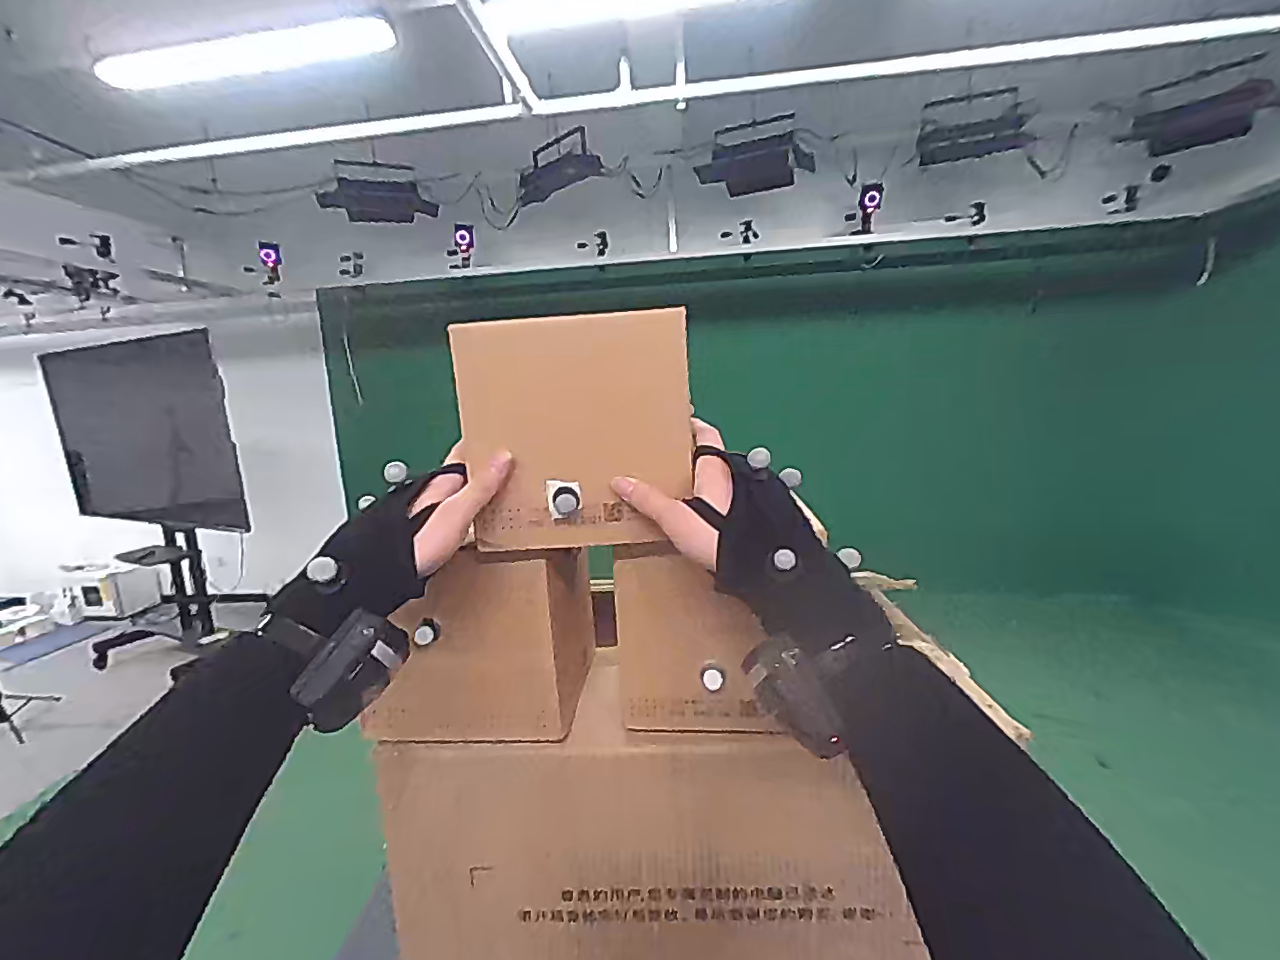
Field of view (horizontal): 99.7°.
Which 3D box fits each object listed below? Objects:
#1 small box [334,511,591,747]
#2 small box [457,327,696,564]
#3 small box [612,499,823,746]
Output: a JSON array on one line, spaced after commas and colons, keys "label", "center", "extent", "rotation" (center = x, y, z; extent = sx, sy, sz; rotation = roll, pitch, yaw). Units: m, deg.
[{"label": "small box", "center": [-0.149, 0.129, 0.513], "extent": [0.179, 0.176, 0.168], "rotation": [-2, 10, 5]}, {"label": "small box", "center": [-0.044, -0.034, 0.467], "extent": [0.168, 0.176, 0.179], "rotation": [-4, 11, -1]}, {"label": "small box", "center": [0.069, 0.117, 0.508], "extent": [0.168, 0.176, 0.179], "rotation": [-1, 11, 7]}]
